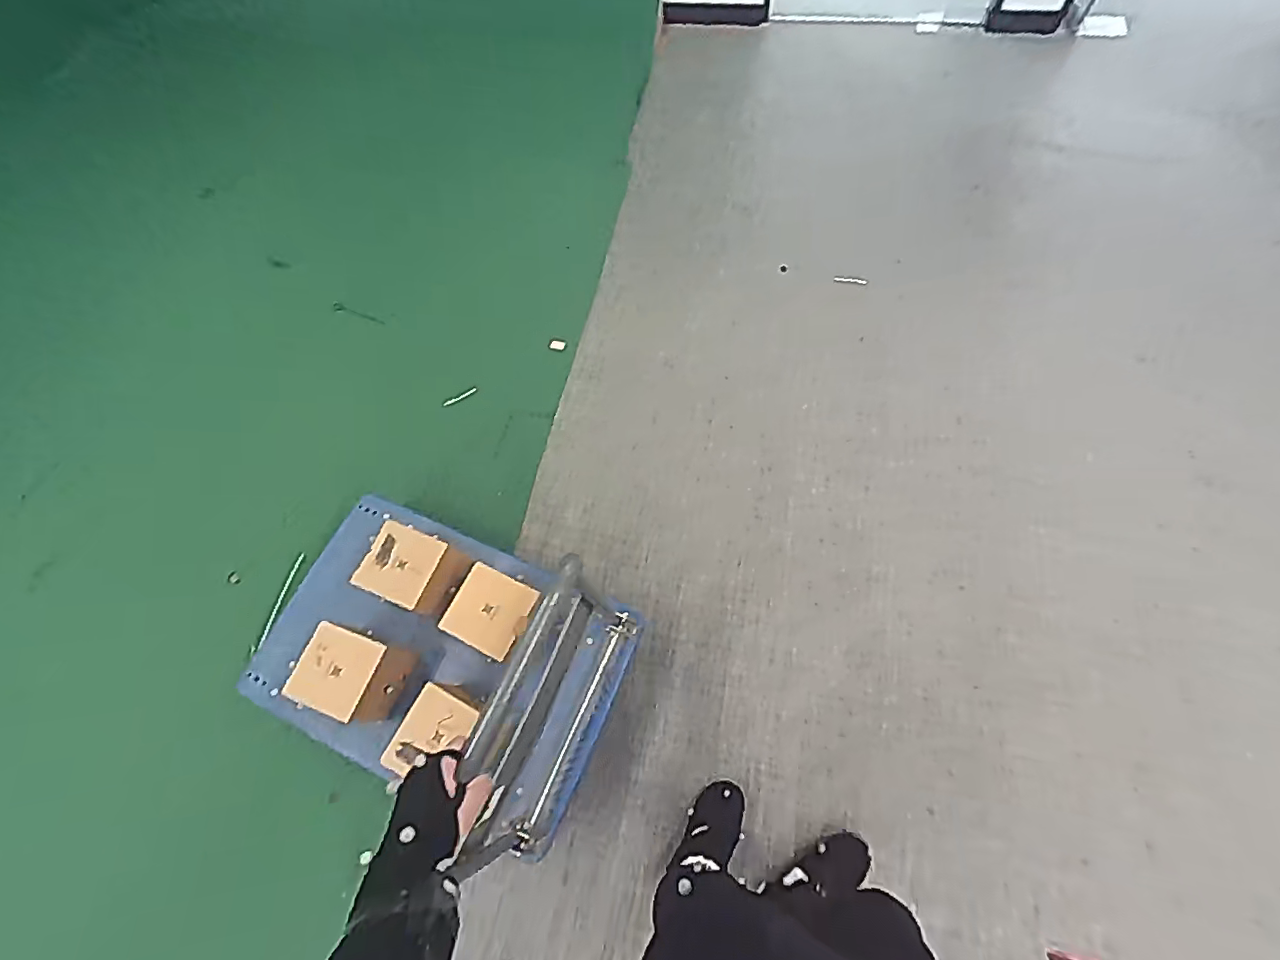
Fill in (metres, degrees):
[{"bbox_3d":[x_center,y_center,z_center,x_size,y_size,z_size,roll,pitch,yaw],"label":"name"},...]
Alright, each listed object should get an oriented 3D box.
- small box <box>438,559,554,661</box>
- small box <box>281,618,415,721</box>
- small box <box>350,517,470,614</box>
[{"bbox_3d":[-0.326,0.309,1.263,0.179,0.176,0.168,23,72,13],"label":"small box"},{"bbox_3d":[-0.653,0.432,1.237,0.179,0.176,0.168,18,69,11],"label":"small box"},{"bbox_3d":[-0.549,0.214,1.318,0.179,0.176,0.168,20,71,11],"label":"small box"}]
